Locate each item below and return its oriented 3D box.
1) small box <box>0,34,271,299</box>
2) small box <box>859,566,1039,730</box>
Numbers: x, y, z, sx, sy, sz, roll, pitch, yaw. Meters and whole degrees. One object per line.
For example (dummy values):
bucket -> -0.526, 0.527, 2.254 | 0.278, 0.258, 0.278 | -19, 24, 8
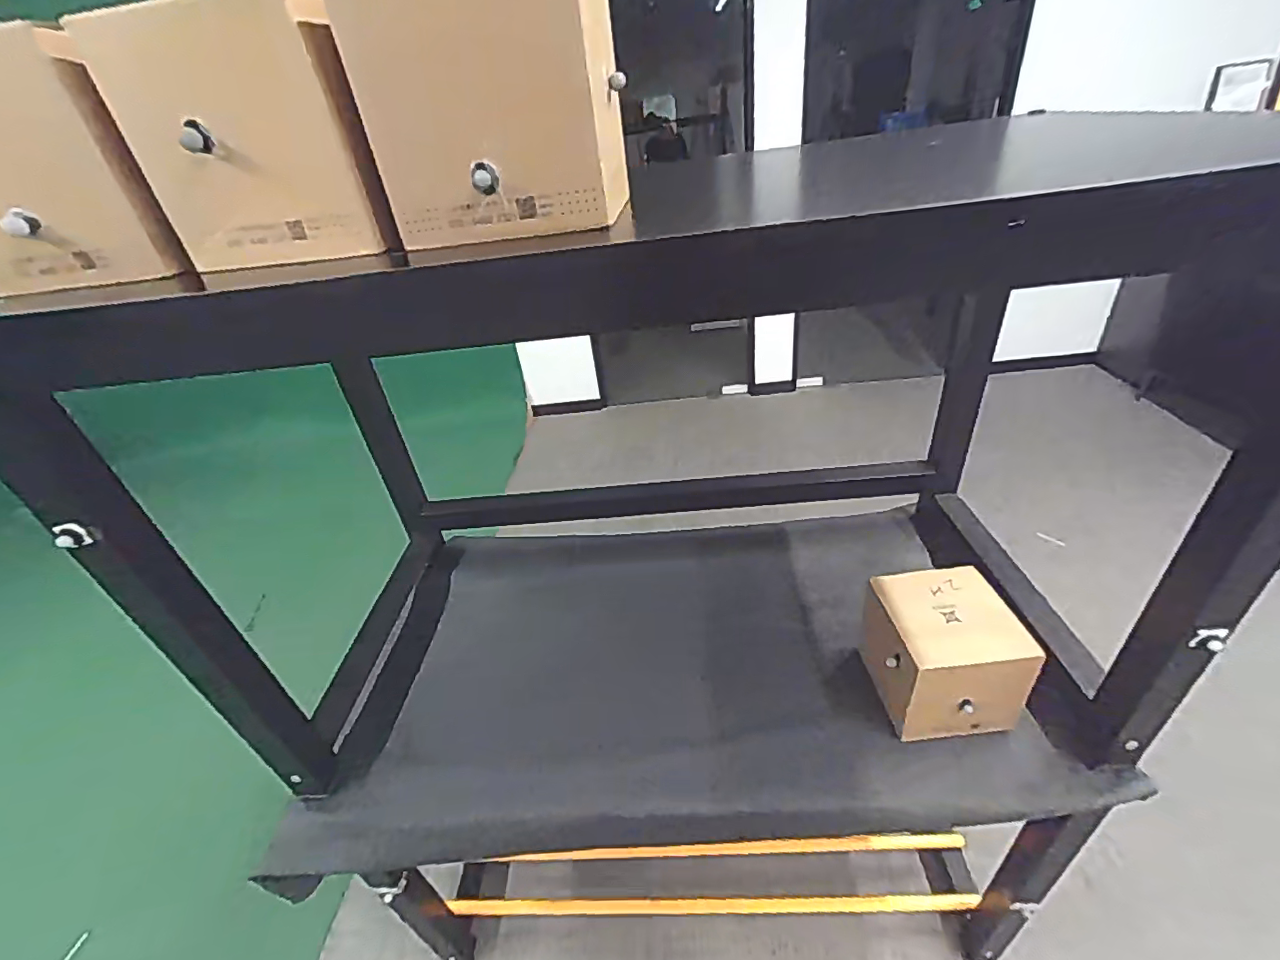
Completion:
small box -> -0.474, -0.271, 0.480 | 0.168, 0.176, 0.179 | -5, 35, 3
small box -> 0.449, 0.257, 0.819 | 0.168, 0.176, 0.179 | -7, 33, 1
